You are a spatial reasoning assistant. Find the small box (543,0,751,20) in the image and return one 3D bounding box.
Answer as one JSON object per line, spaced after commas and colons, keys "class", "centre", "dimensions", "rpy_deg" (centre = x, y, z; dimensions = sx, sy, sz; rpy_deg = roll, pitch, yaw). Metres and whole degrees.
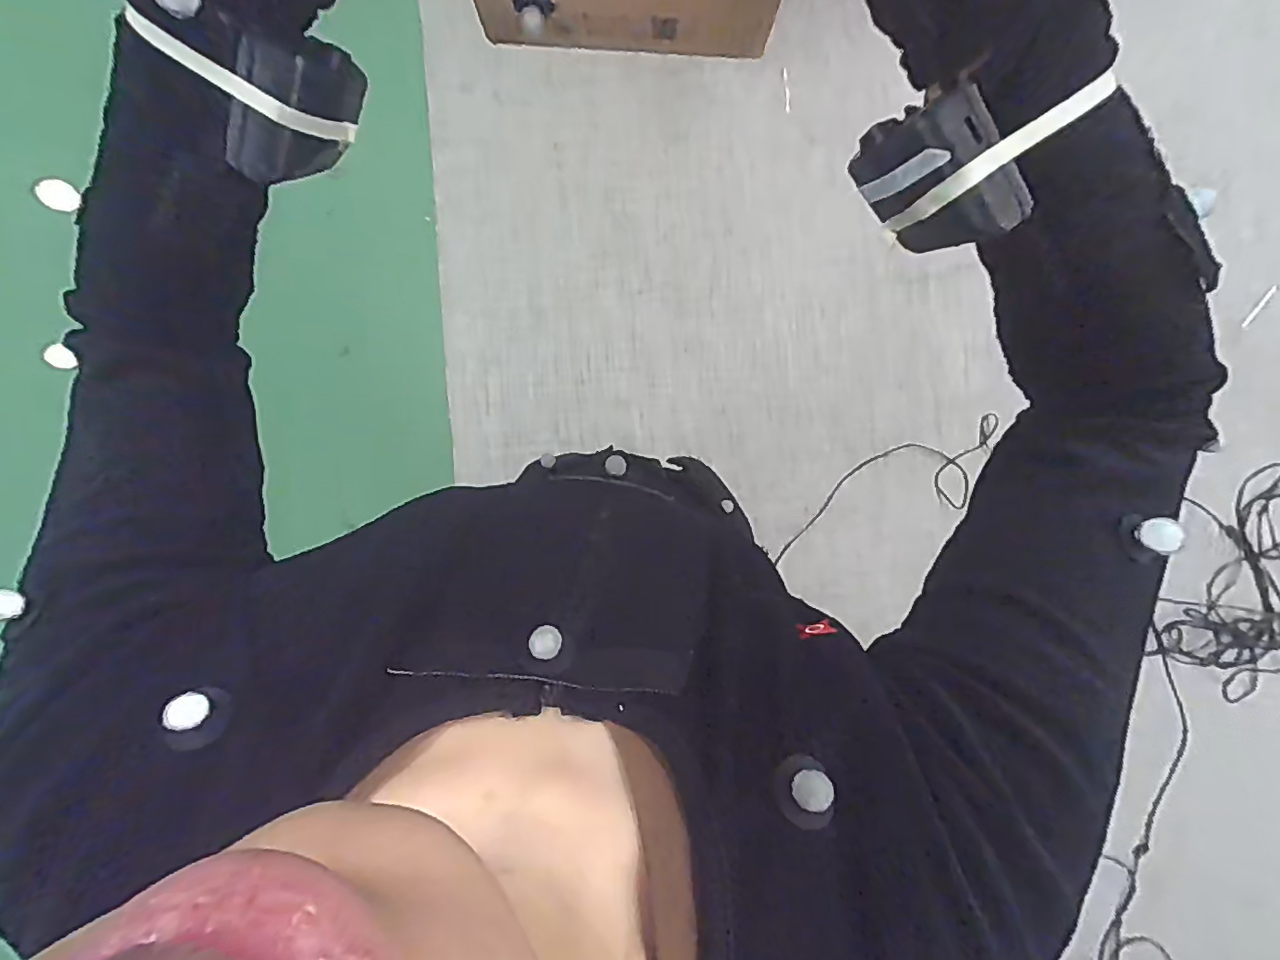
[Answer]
{"class": "small box", "centre": [-0.011, -0.353, 0.236], "dimensions": [0.168, 0.176, 0.179], "rpy_deg": [3, 90, -1]}
